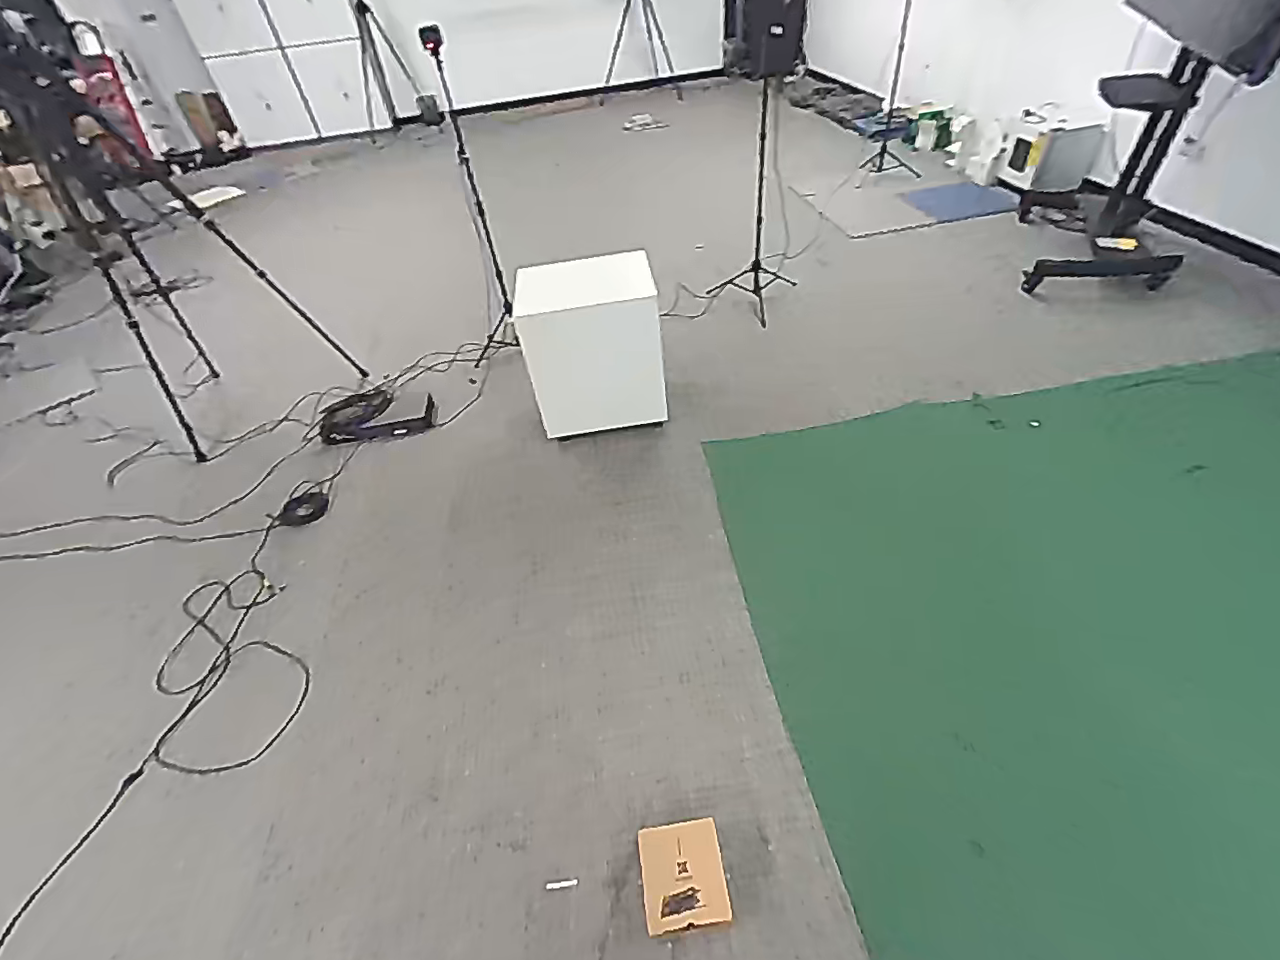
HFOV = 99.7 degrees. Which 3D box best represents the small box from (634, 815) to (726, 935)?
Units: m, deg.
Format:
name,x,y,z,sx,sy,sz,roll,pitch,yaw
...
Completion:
name,x,y,z,sx,sy,sz,roll,pitch,yaw
small box,0.084,0.835,1.138,0.168,0.176,0.179,-8,45,-1
